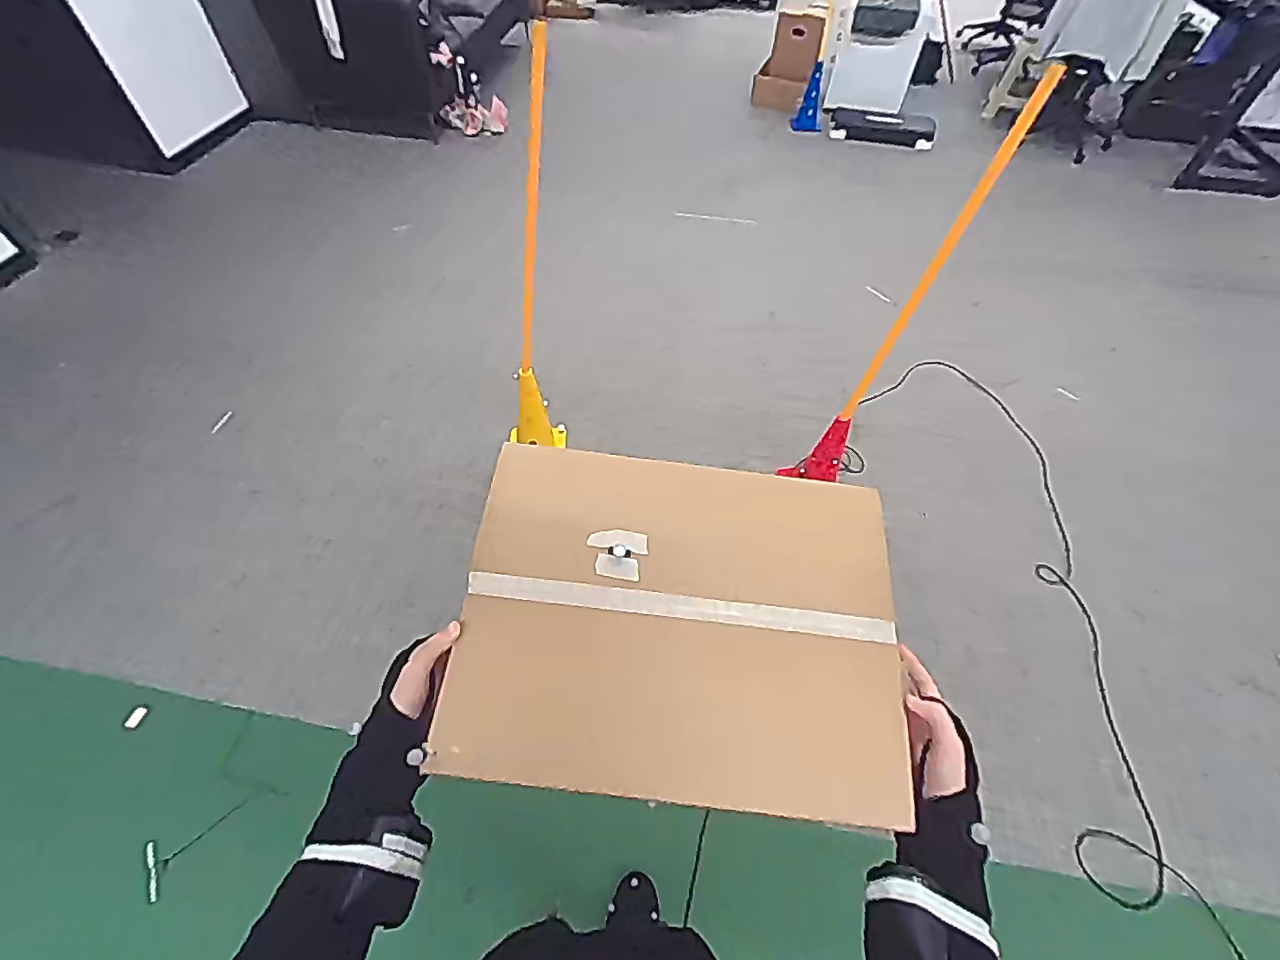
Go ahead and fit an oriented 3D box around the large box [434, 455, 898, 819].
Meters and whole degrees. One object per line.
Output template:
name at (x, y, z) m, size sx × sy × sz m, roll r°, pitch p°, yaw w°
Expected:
large box at (0.031, 0.193, 0.654) m, size 0.408 × 0.320 × 0.320 m, roll 7°, pitch 63°, yaw 0°
